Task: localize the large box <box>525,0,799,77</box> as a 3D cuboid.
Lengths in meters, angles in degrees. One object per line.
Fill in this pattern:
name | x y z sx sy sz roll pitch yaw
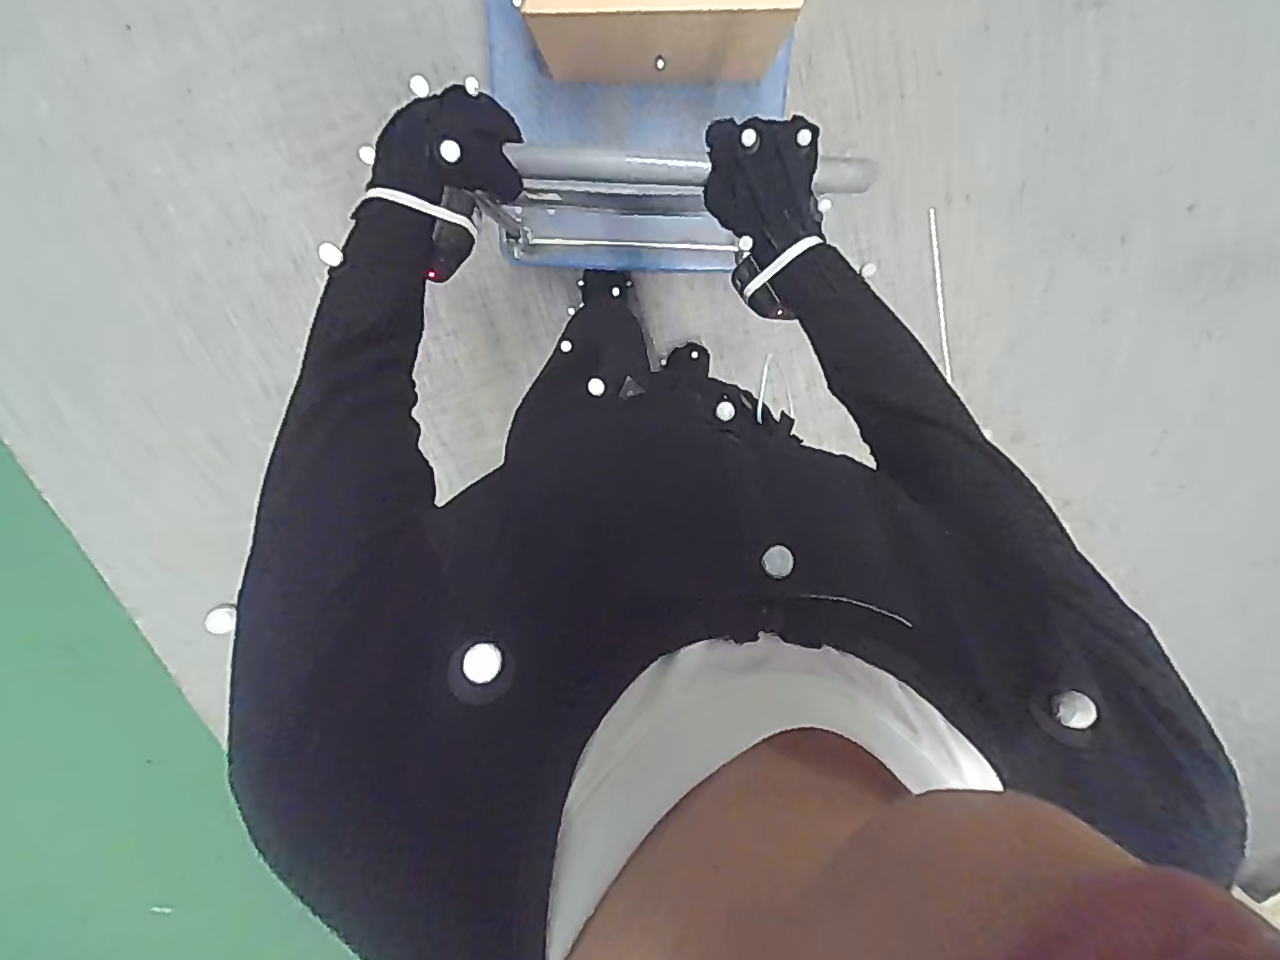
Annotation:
large box | 0.034 -0.878 0.863 0.408 0.320 0.320 0 110 1
